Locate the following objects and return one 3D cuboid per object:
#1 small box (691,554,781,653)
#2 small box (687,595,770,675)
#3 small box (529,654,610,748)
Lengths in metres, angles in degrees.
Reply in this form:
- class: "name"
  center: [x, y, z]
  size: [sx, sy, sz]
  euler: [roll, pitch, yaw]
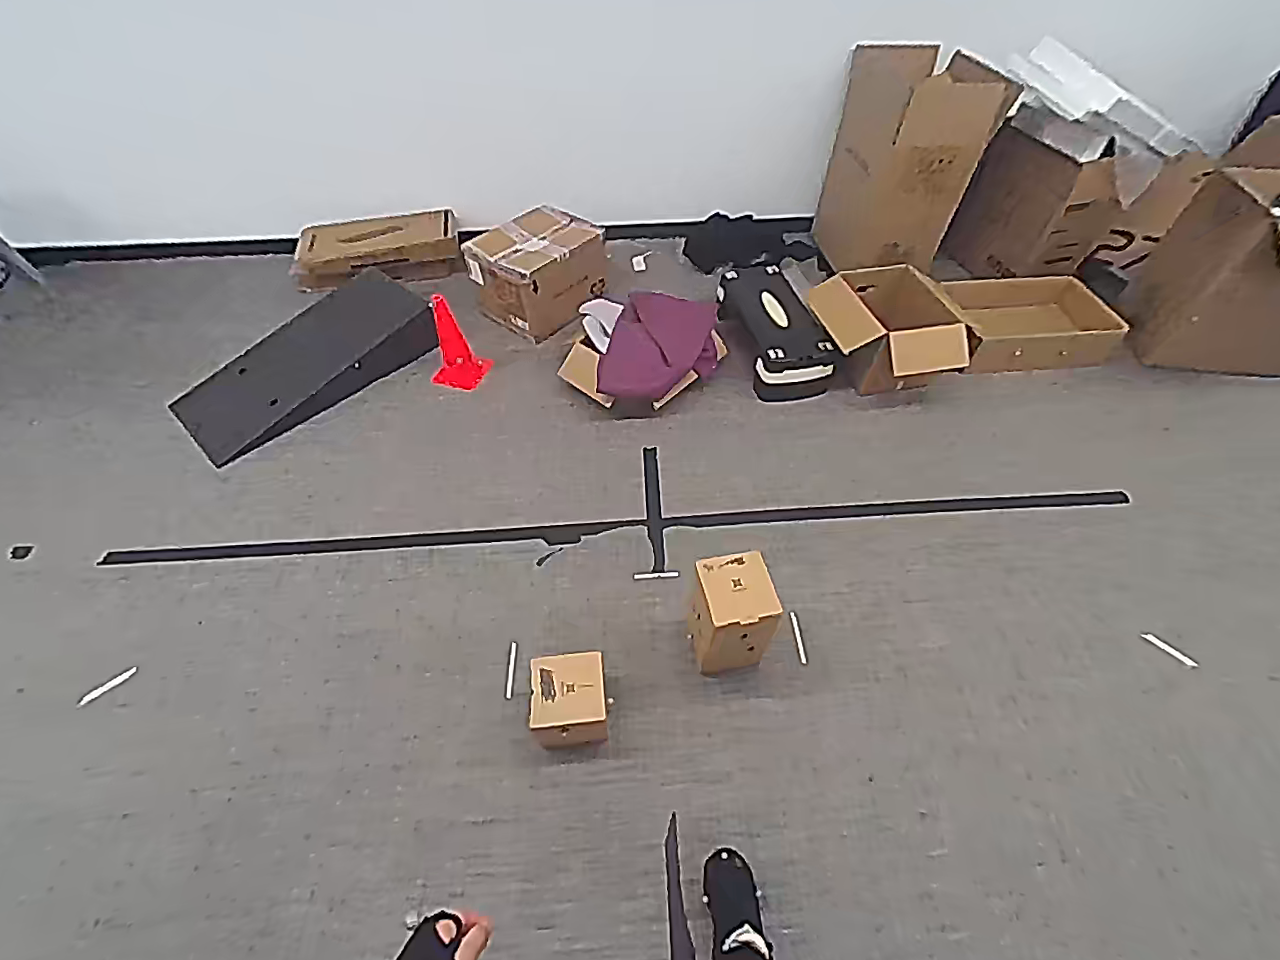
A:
- class: "small box"
  center: [0.227, 0.309, 1.323]
  size: [0.168, 0.176, 0.179]
  euler: [-8, 52, -6]
- class: "small box"
  center: [0.230, 0.406, 1.455]
  size: [0.179, 0.176, 0.168]
  euler: [-7, 51, -5]
- class: "small box"
  center: [-0.171, 0.551, 1.339]
  size: [0.179, 0.176, 0.168]
  euler: [-5, 51, -4]
